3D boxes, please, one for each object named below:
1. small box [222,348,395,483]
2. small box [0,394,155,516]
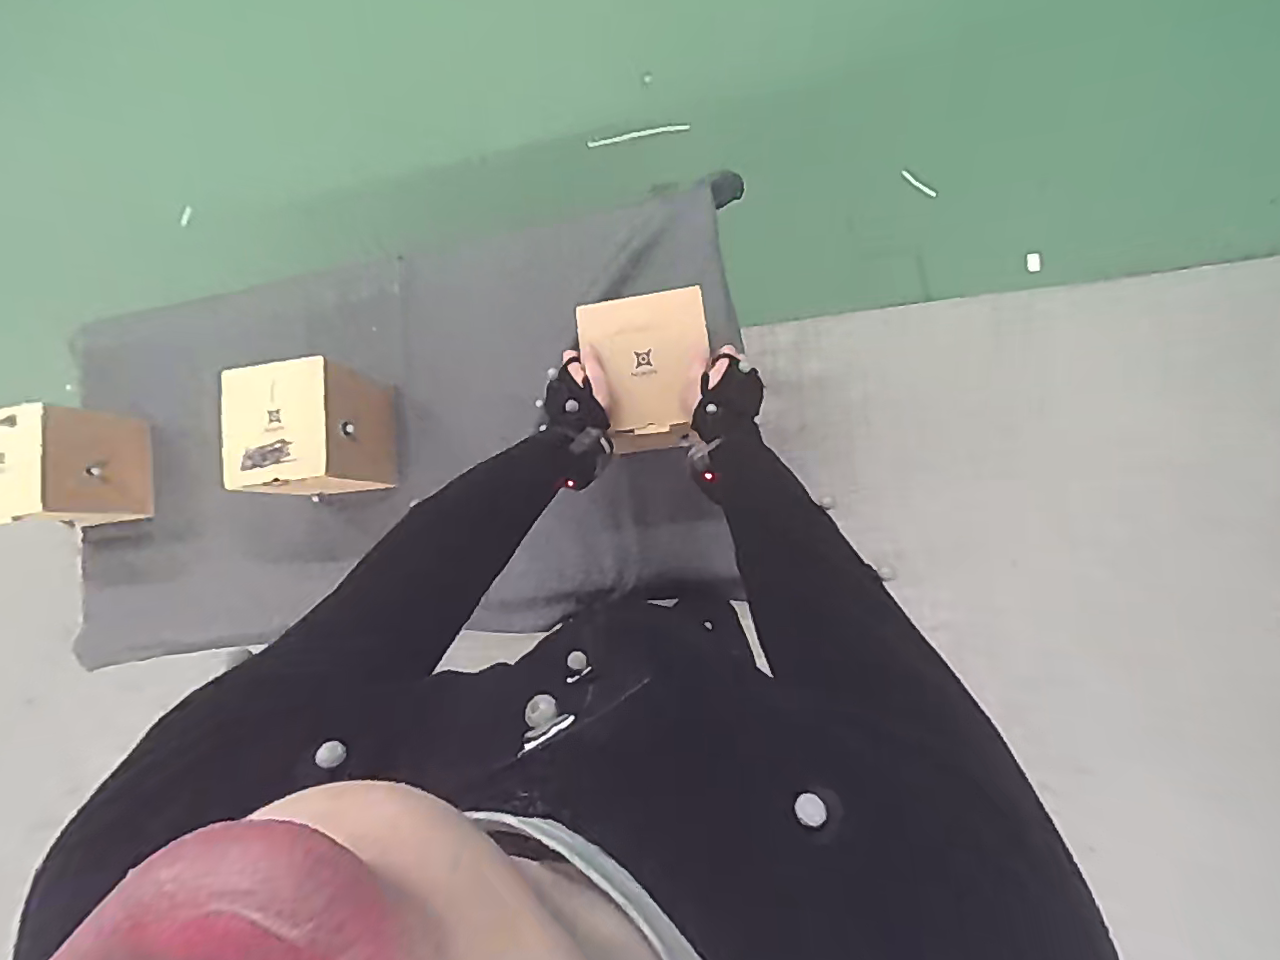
[{"bbox_3d":[-0.502,-0.088,0.838,0.168,0.176,0.179,-6,85,9],"label":"small box"},{"bbox_3d":[-0.967,-0.035,0.910,0.168,0.176,0.179,-7,86,7],"label":"small box"}]
